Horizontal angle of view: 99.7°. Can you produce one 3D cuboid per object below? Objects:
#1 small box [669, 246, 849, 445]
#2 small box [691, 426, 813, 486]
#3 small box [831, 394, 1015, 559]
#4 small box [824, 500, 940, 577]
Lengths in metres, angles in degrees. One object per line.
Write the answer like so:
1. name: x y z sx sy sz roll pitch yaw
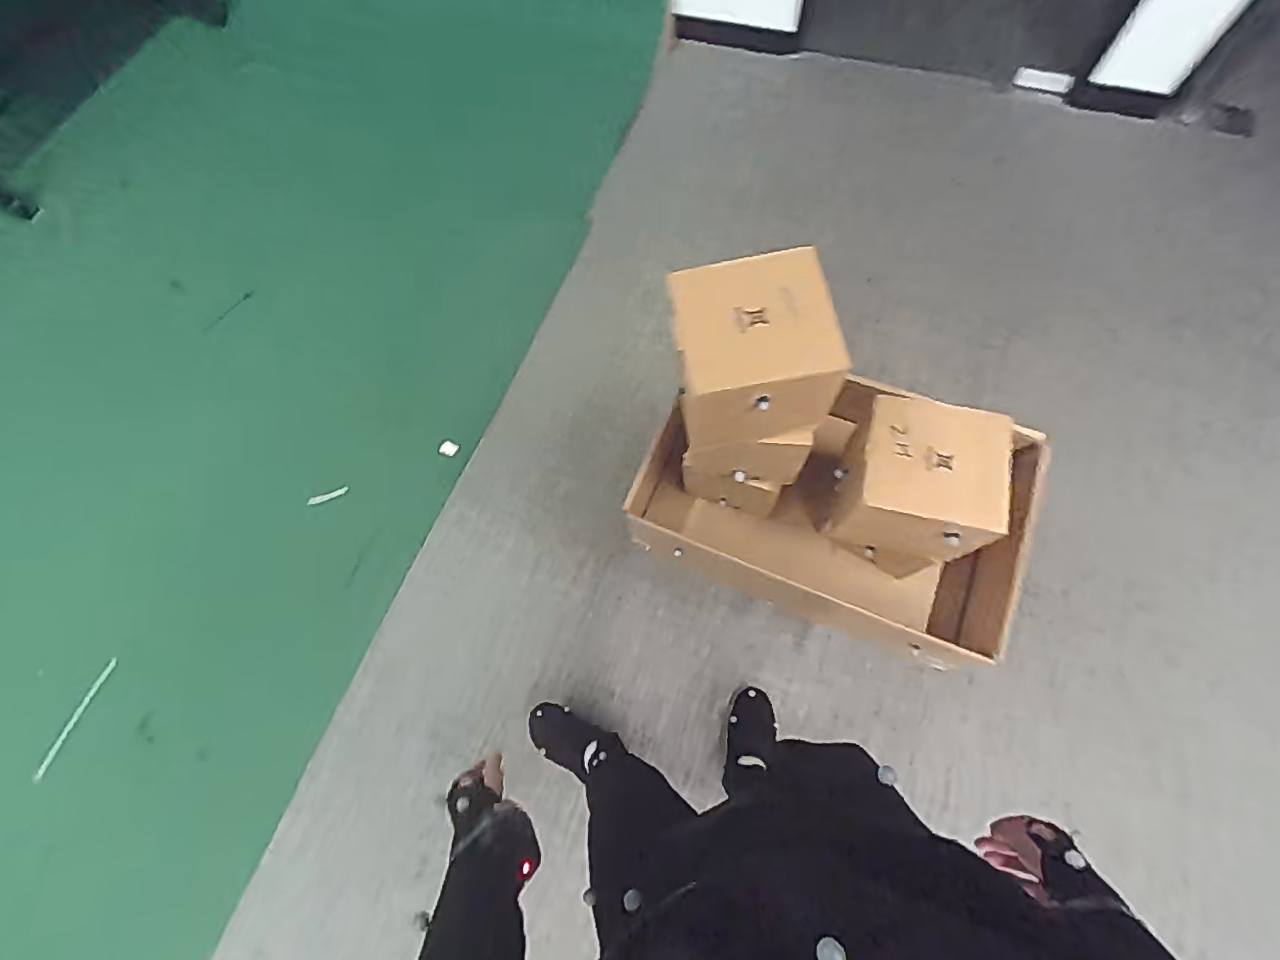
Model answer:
1. small box: 0.136 -0.155 0.676 0.179 0.176 0.168 -8 71 3
2. small box: 0.167 -0.106 0.828 0.168 0.176 0.179 5 71 8
3. small box: 0.390 0.004 0.768 0.179 0.176 0.168 13 71 10
4. small box: 0.434 0.046 0.924 0.168 0.176 0.179 31 77 14
